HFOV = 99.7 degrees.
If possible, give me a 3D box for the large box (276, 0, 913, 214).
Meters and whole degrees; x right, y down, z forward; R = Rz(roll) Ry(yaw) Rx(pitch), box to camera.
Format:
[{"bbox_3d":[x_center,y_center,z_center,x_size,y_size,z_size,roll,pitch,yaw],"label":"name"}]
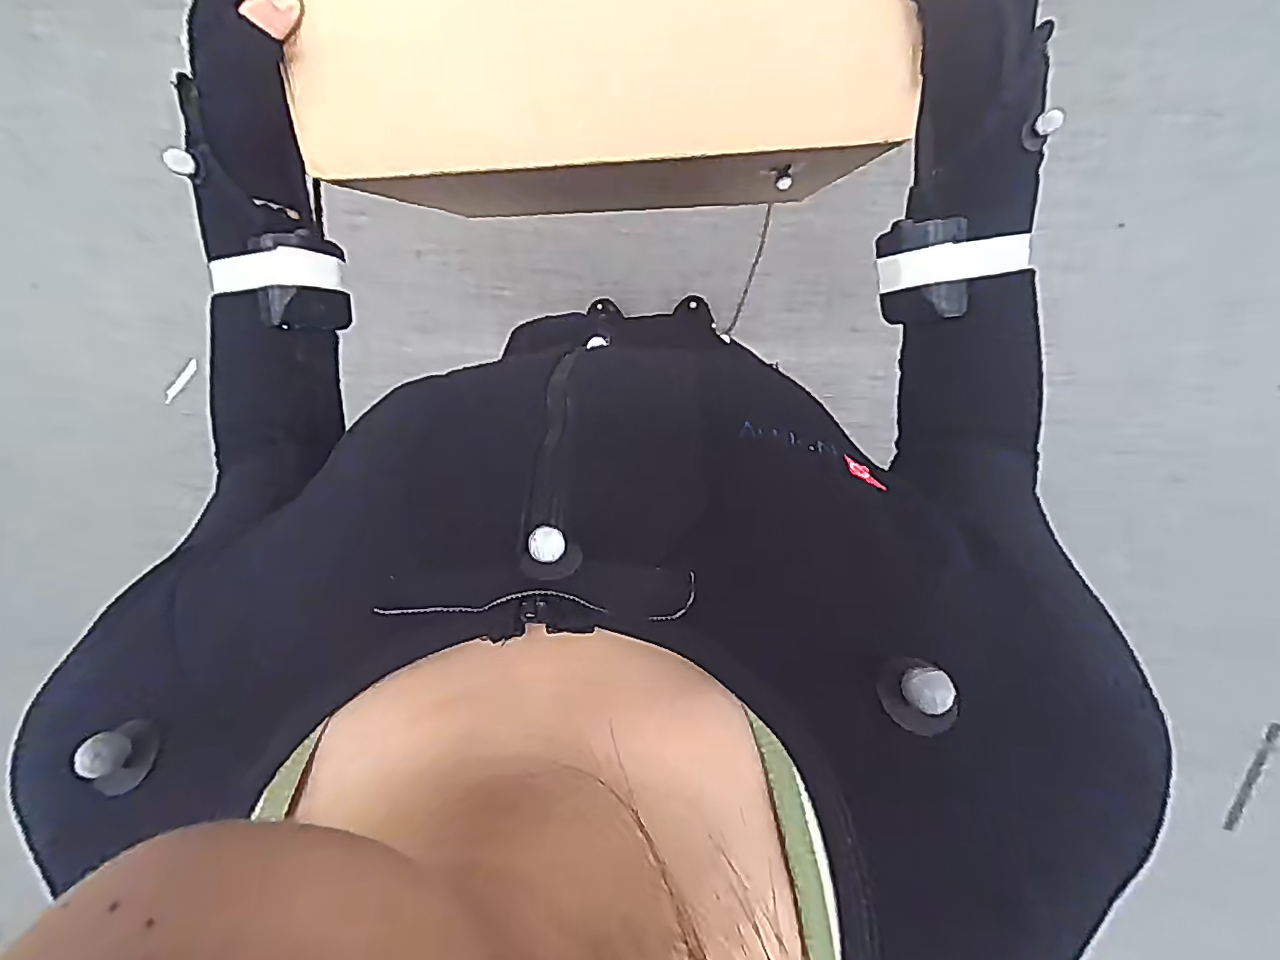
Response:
[{"bbox_3d":[-0.027,-0.414,0.452,0.408,0.320,0.320,-1,111,3],"label":"large box"}]
